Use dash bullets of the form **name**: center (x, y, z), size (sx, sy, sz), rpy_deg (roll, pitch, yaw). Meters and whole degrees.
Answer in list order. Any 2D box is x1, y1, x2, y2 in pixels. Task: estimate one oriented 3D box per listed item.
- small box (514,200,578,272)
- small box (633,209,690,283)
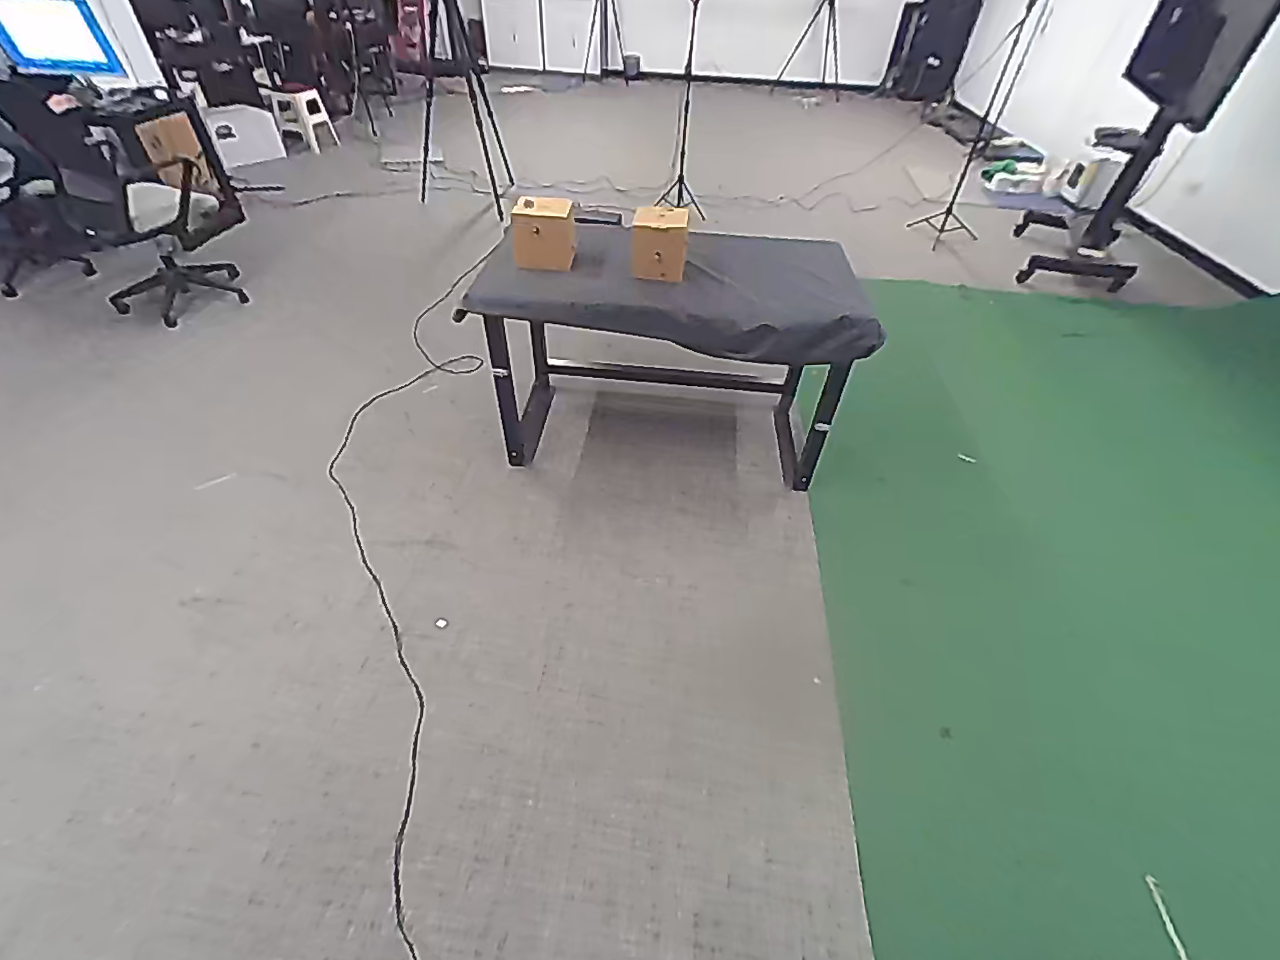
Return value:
- **small box**: center (-0.299, -0.789, 1.752), size (0.179, 0.176, 0.168), rpy_deg (4, 44, -1)
- **small box**: center (0.069, -0.747, 1.730), size (0.168, 0.176, 0.179), rpy_deg (6, 45, 4)
